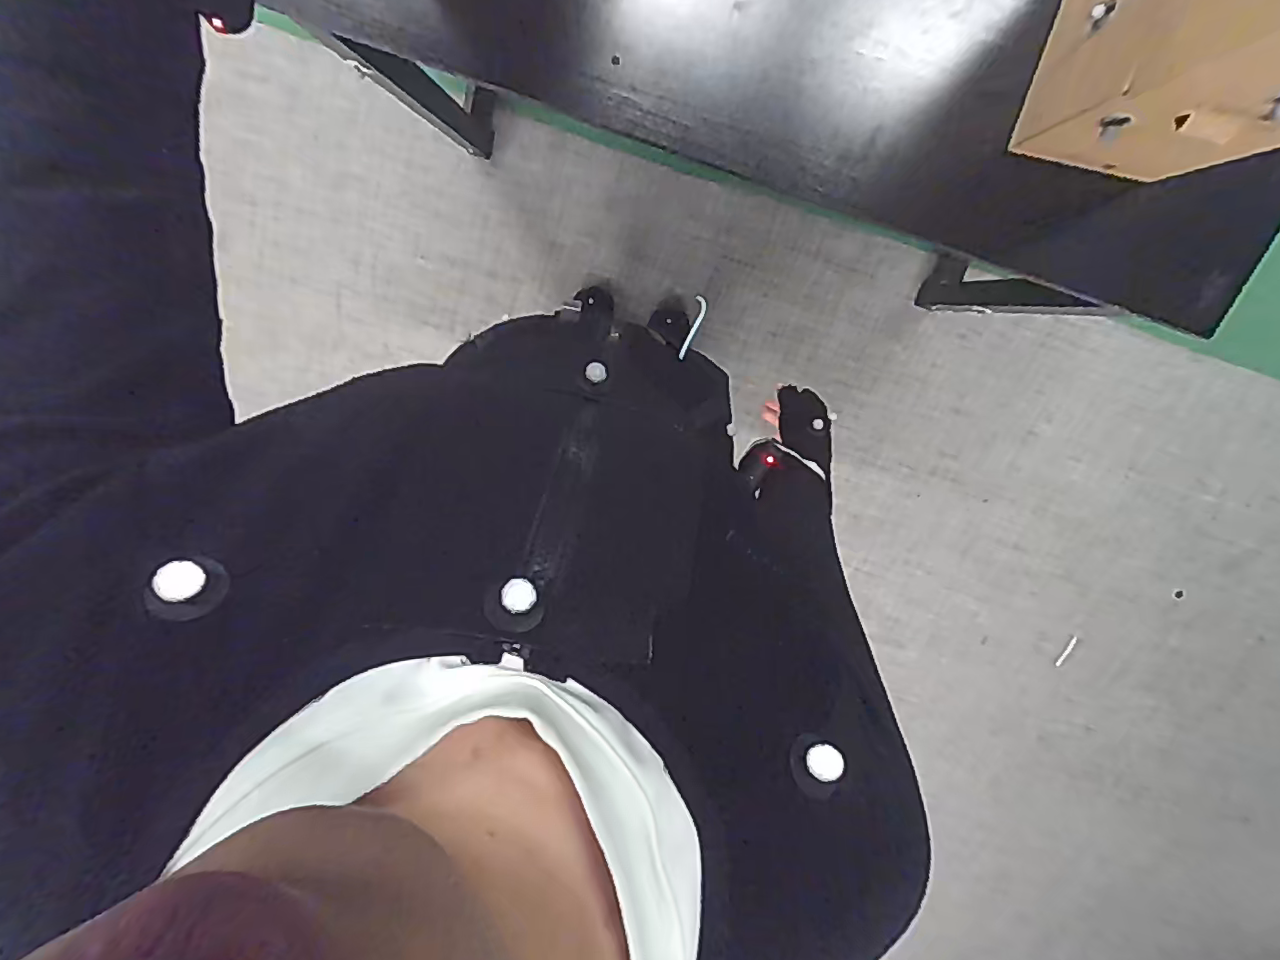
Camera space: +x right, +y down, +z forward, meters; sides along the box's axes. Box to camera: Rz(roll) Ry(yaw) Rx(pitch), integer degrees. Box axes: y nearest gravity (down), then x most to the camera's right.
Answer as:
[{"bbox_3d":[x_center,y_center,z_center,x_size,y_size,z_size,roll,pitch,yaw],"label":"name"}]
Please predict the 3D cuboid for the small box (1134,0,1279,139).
[{"bbox_3d":[0.489,-0.354,0.348,0.168,0.176,0.179,10,108,0],"label":"small box"}]
